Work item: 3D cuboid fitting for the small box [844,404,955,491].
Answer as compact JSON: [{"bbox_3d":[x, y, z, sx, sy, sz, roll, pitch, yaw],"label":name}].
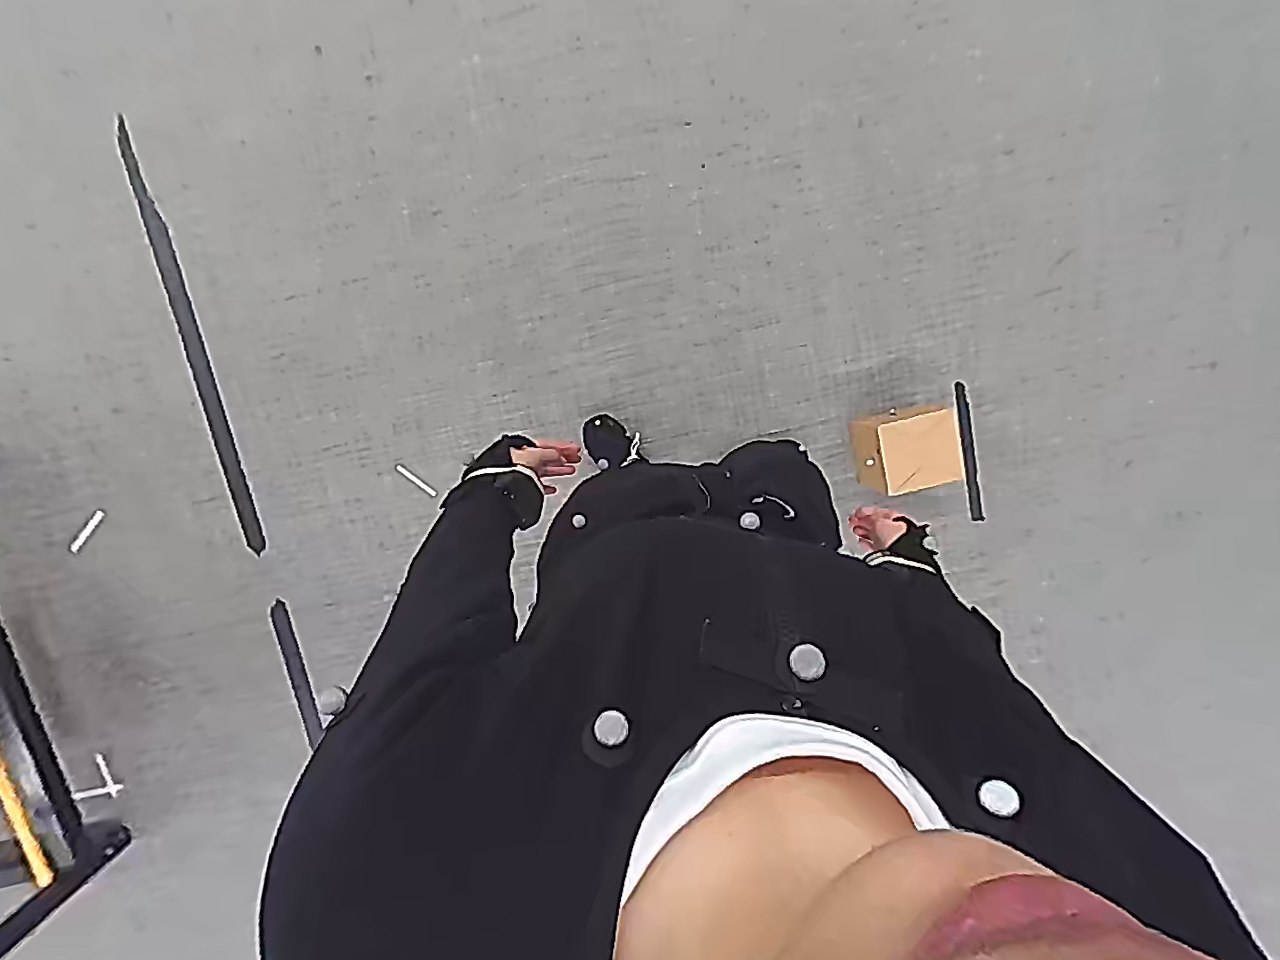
[{"bbox_3d":[0.619,-0.079,1.294,0.179,0.176,0.168,-14,99,1],"label":"small box"}]
